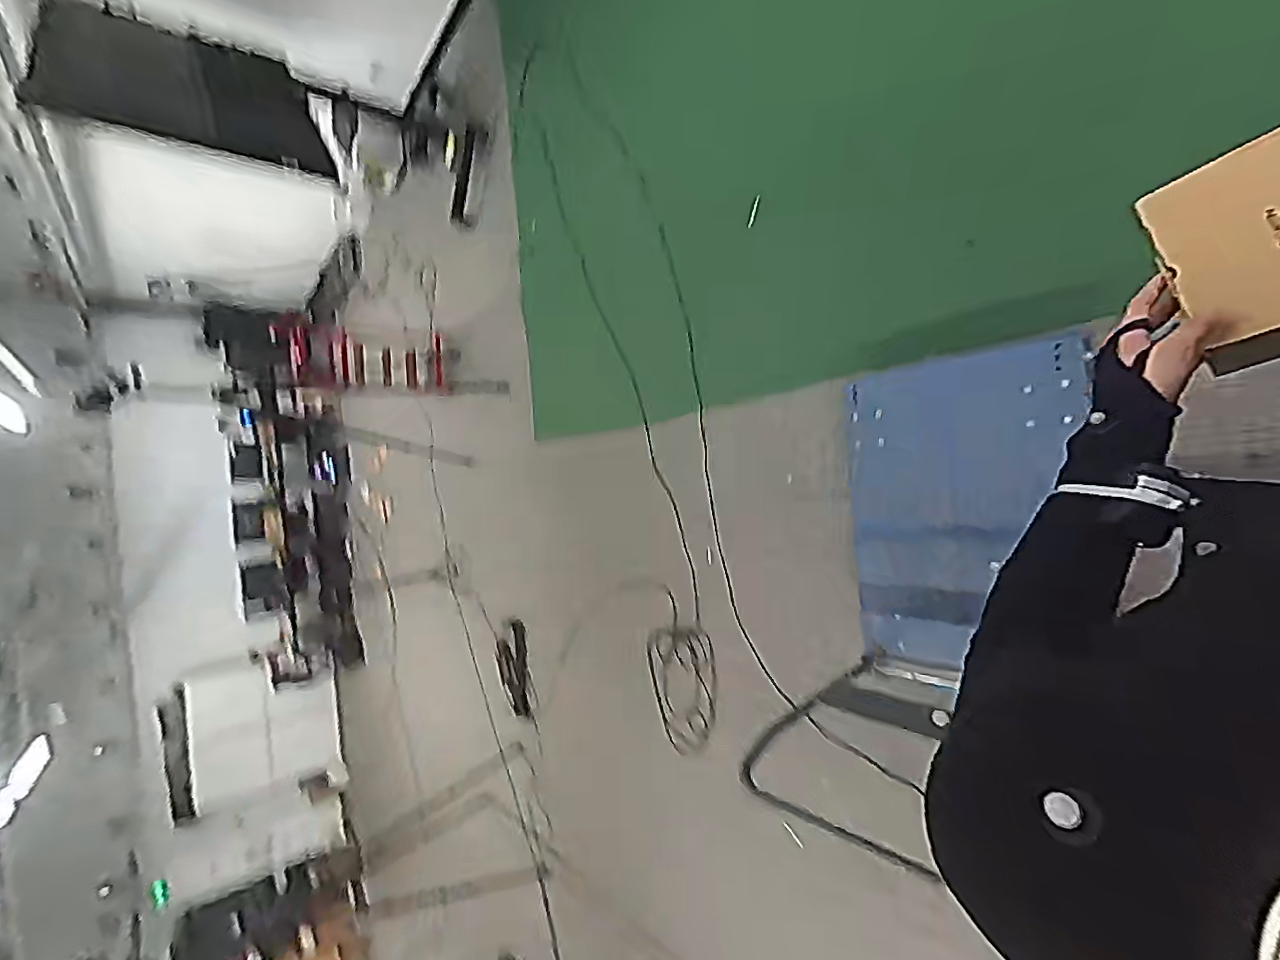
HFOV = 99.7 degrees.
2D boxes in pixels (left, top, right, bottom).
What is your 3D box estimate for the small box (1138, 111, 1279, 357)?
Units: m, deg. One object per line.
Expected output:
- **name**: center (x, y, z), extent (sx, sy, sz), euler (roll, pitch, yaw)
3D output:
- **small box**: center (0.609, -0.229, 0.496), extent (0.179, 0.176, 0.168), euler (-22, 73, 46)
